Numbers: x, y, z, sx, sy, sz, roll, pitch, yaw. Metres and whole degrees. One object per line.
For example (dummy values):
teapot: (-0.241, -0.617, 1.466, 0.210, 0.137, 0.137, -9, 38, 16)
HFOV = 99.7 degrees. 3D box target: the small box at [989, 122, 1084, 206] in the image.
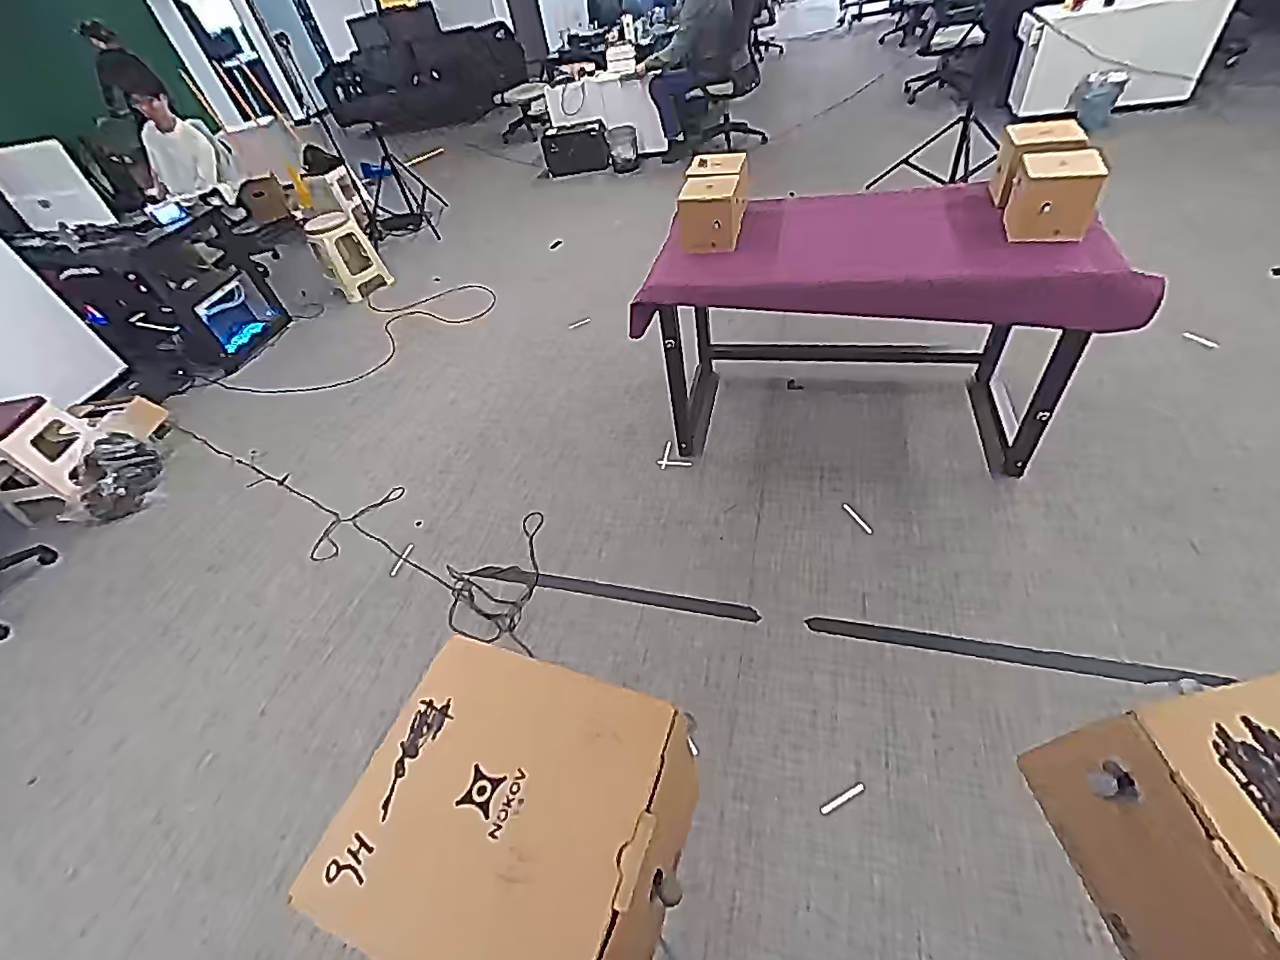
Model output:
small box: (1.143, -0.916, 1.578, 0.179, 0.176, 0.168, 6, 50, 17)

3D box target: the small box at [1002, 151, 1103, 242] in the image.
small box: (1.088, -0.749, 1.440, 0.168, 0.176, 0.179, 8, 48, 20)

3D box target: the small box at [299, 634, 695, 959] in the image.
small box: (-0.068, 0.237, 0.370, 0.179, 0.176, 0.168, 11, 51, 20)

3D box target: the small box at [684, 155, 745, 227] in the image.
small box: (0.256, -0.973, 1.825, 0.179, 0.176, 0.168, 7, 51, 17)
